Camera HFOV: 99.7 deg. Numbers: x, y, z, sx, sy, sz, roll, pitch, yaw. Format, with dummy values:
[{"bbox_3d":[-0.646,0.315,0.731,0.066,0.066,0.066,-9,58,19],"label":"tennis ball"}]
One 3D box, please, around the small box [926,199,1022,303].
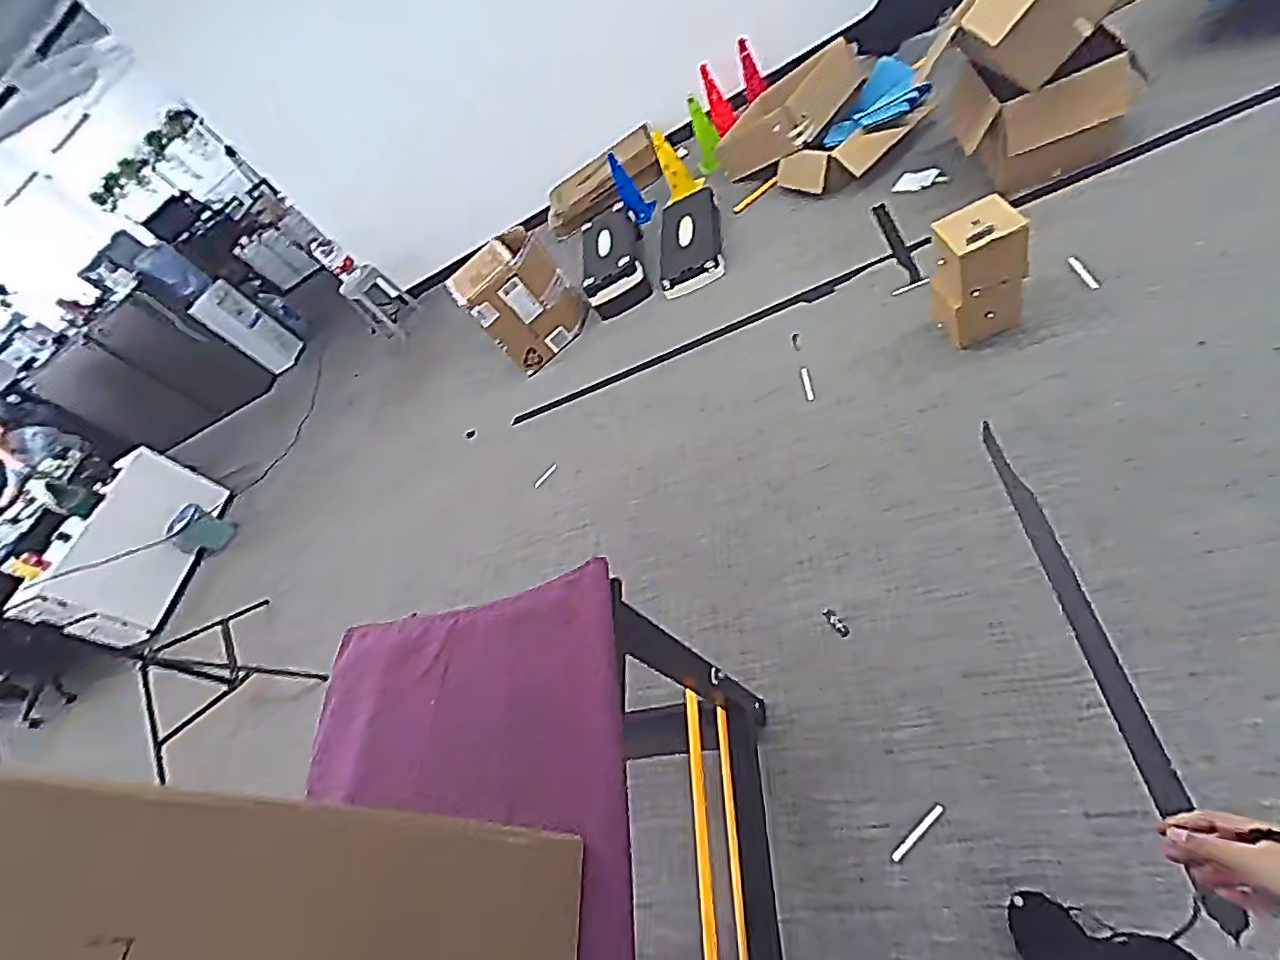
[{"bbox_3d":[0.898,-0.606,1.457,0.168,0.176,0.179,-22,47,18],"label":"small box"}]
